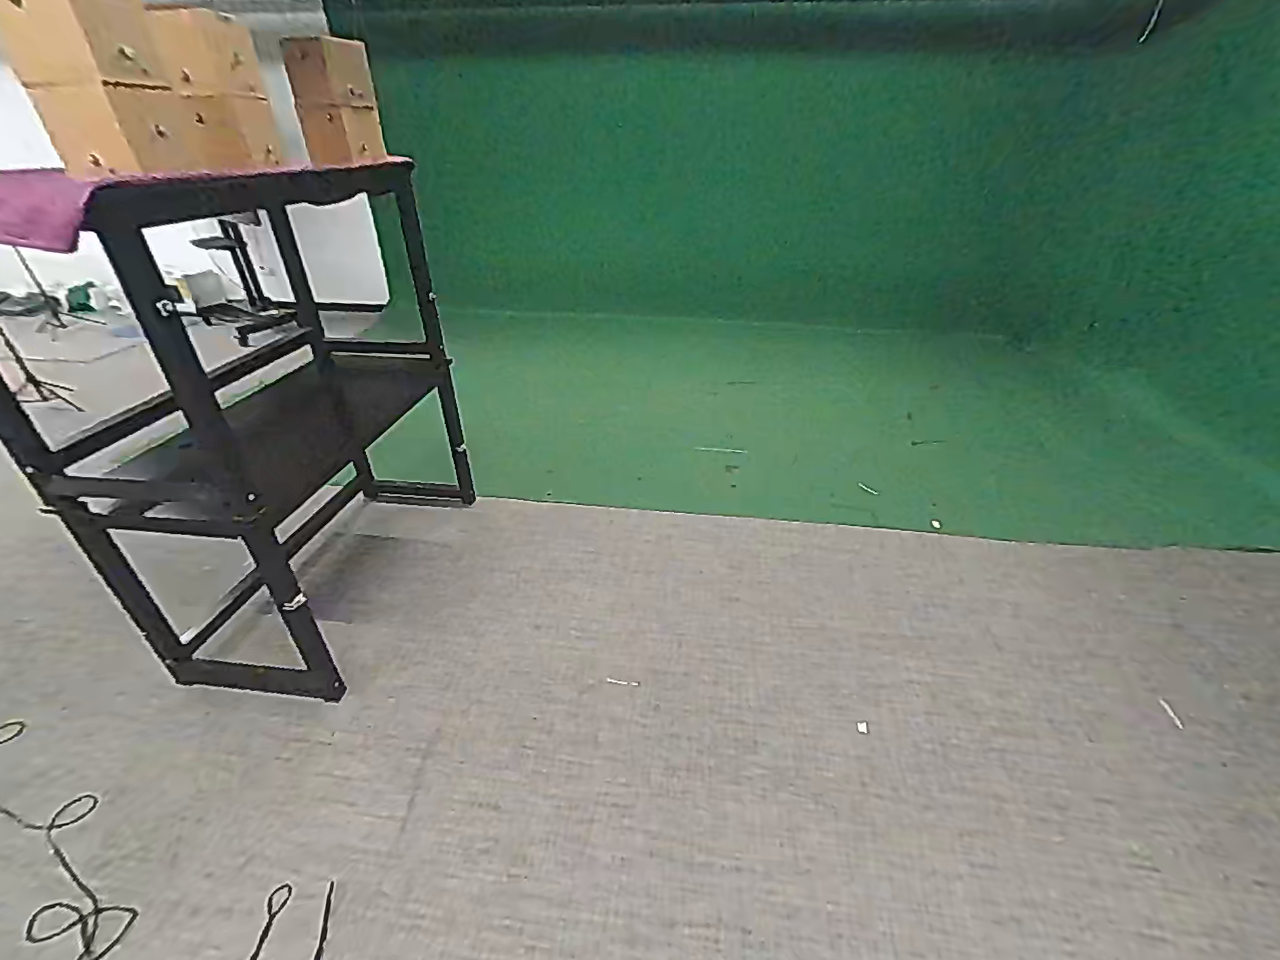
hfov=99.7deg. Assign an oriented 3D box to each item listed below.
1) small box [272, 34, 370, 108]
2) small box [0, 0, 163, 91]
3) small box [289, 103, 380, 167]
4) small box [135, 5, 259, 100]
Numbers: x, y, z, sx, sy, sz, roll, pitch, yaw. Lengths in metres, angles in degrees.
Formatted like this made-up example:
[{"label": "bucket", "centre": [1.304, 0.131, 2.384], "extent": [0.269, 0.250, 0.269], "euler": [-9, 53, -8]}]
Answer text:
[{"label": "small box", "centre": [-0.974, -1.252, 1.664], "extent": [0.179, 0.176, 0.168], "euler": [14, 37, 16]}, {"label": "small box", "centre": [-1.076, -0.845, 1.019], "extent": [0.179, 0.176, 0.168], "euler": [1, 33, 3]}, {"label": "small box", "centre": [-0.984, -1.117, 1.754], "extent": [0.179, 0.176, 0.168], "euler": [11, 35, 14]}, {"label": "small box", "centre": [-1.089, -1.038, 1.325], "extent": [0.179, 0.176, 0.168], "euler": [2, 32, 4]}]
